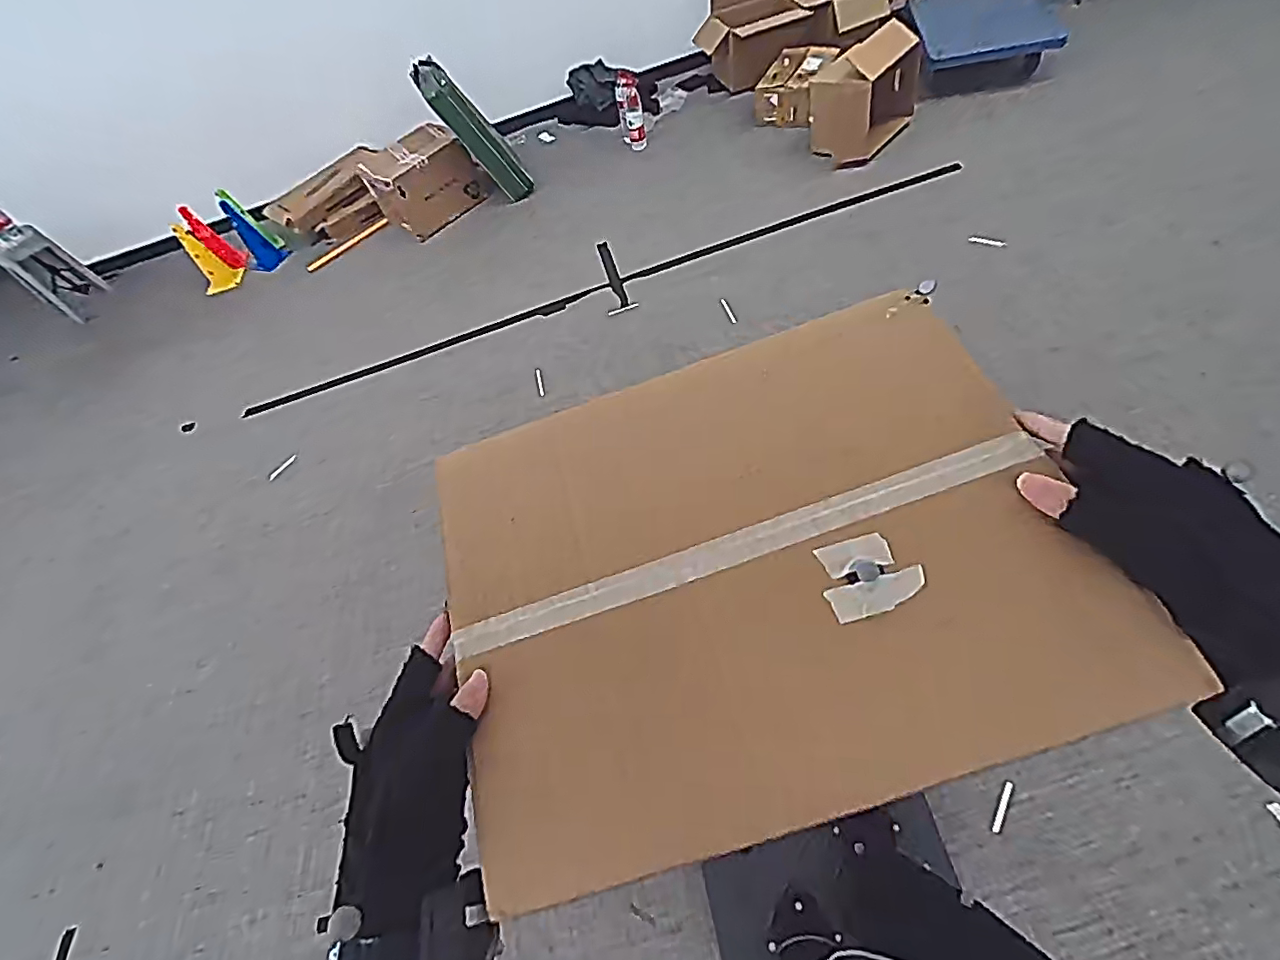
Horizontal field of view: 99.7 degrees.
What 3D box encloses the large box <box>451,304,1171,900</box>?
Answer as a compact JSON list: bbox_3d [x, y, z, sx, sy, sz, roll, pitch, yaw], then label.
[{"bbox_3d":[0.096,0.115,0.505,0.408,0.320,0.320,-20,62,2],"label":"large box"}]
